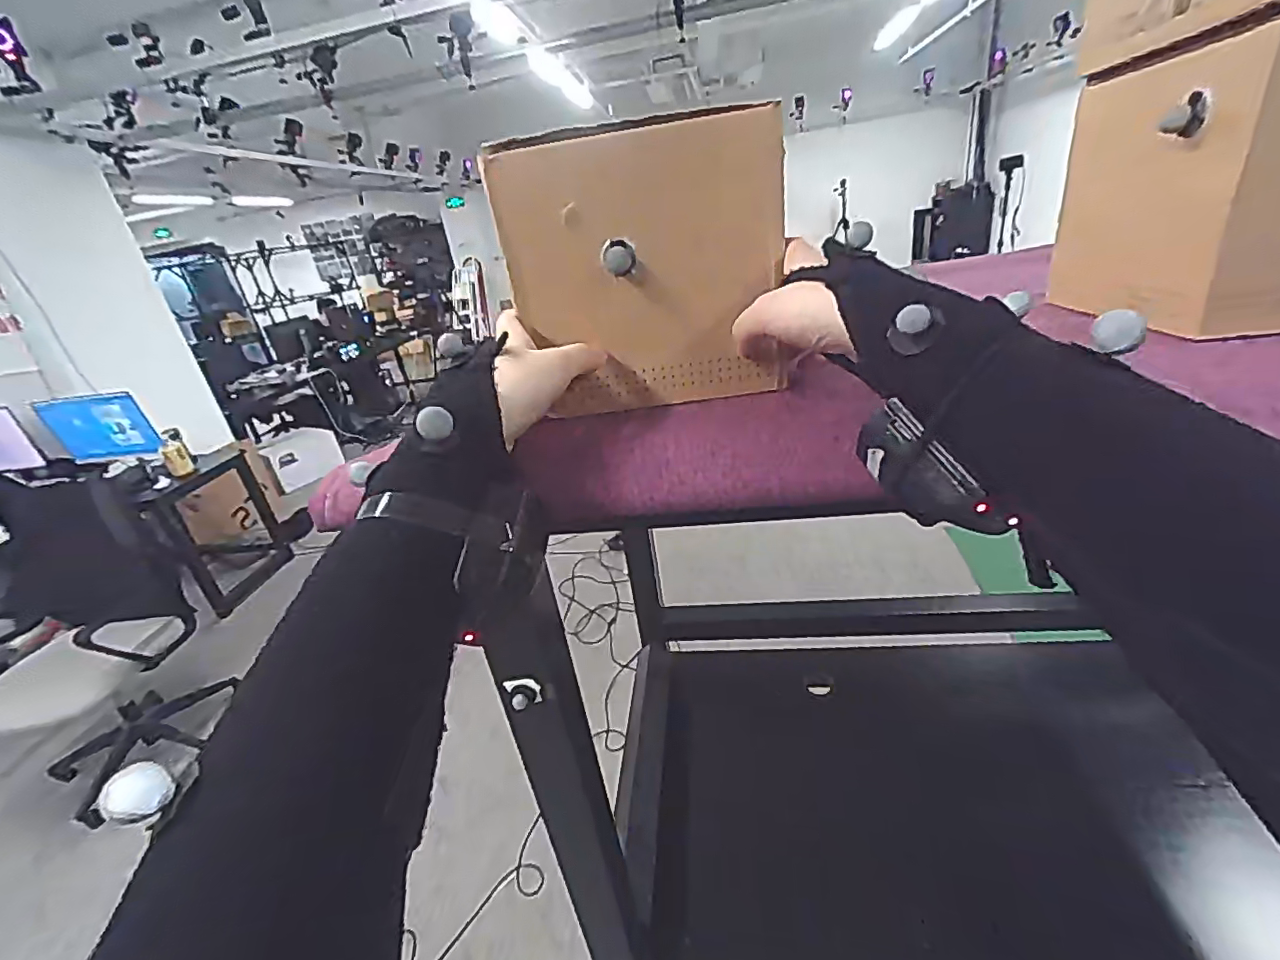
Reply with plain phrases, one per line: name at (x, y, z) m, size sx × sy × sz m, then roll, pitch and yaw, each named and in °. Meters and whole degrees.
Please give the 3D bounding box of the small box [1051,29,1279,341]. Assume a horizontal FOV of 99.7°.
small box at (0.424, -0.195, 0.366) m, size 0.168 × 0.176 × 0.179 m, roll -3°, pitch 25°, yaw 10°

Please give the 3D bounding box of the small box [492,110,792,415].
small box at (0.011, -0.157, 0.415) m, size 0.179 × 0.176 × 0.168 m, roll -7°, pitch 27°, yaw 4°
